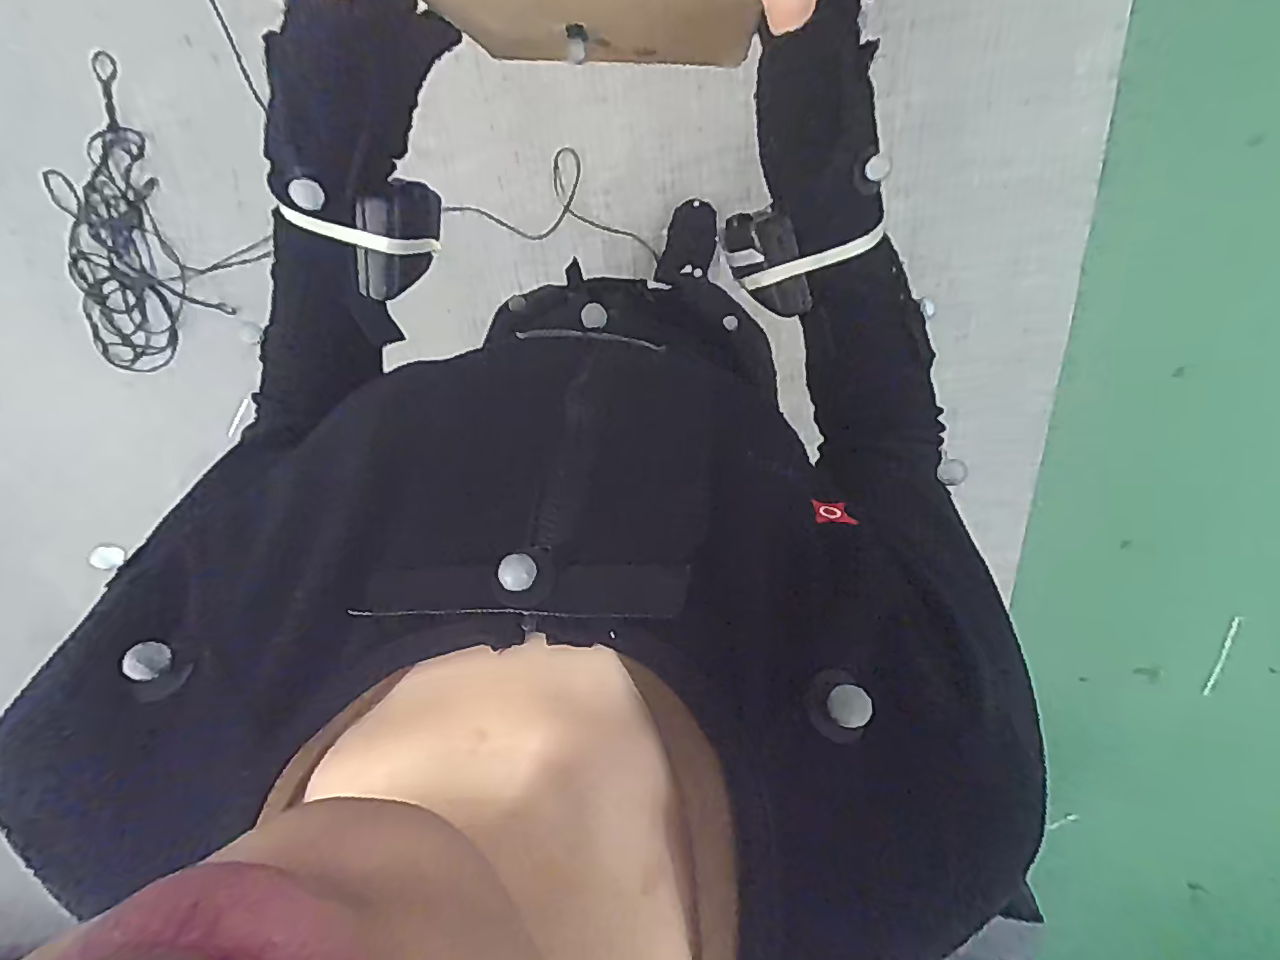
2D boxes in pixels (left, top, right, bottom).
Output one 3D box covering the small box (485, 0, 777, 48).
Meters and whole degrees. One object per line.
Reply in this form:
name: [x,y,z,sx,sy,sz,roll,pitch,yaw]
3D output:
small box: [-0.009,-0.314,0.227,0.168,0.176,0.179,4,118,3]
